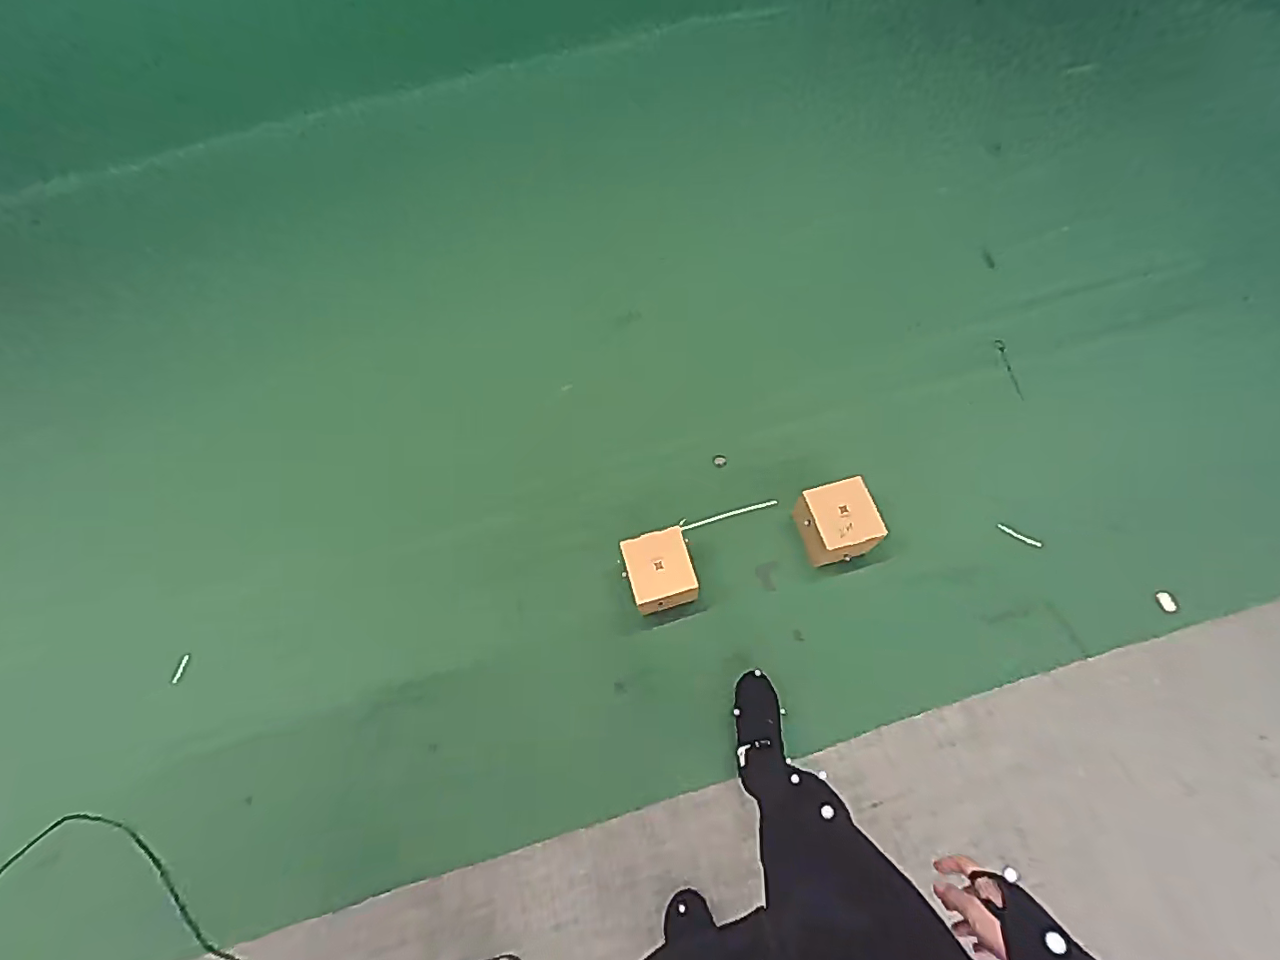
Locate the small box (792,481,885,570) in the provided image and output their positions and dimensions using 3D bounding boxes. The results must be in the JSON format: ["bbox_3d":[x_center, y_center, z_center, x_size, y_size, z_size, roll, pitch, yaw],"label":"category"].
[{"bbox_3d":[0.537,0.129,1.491,0.168,0.176,0.179,-14,66,-3],"label":"small box"}]

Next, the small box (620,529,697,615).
[{"bbox_3d":[0.051,0.258,1.464,0.168,0.176,0.179,-16,65,-3],"label":"small box"}]
